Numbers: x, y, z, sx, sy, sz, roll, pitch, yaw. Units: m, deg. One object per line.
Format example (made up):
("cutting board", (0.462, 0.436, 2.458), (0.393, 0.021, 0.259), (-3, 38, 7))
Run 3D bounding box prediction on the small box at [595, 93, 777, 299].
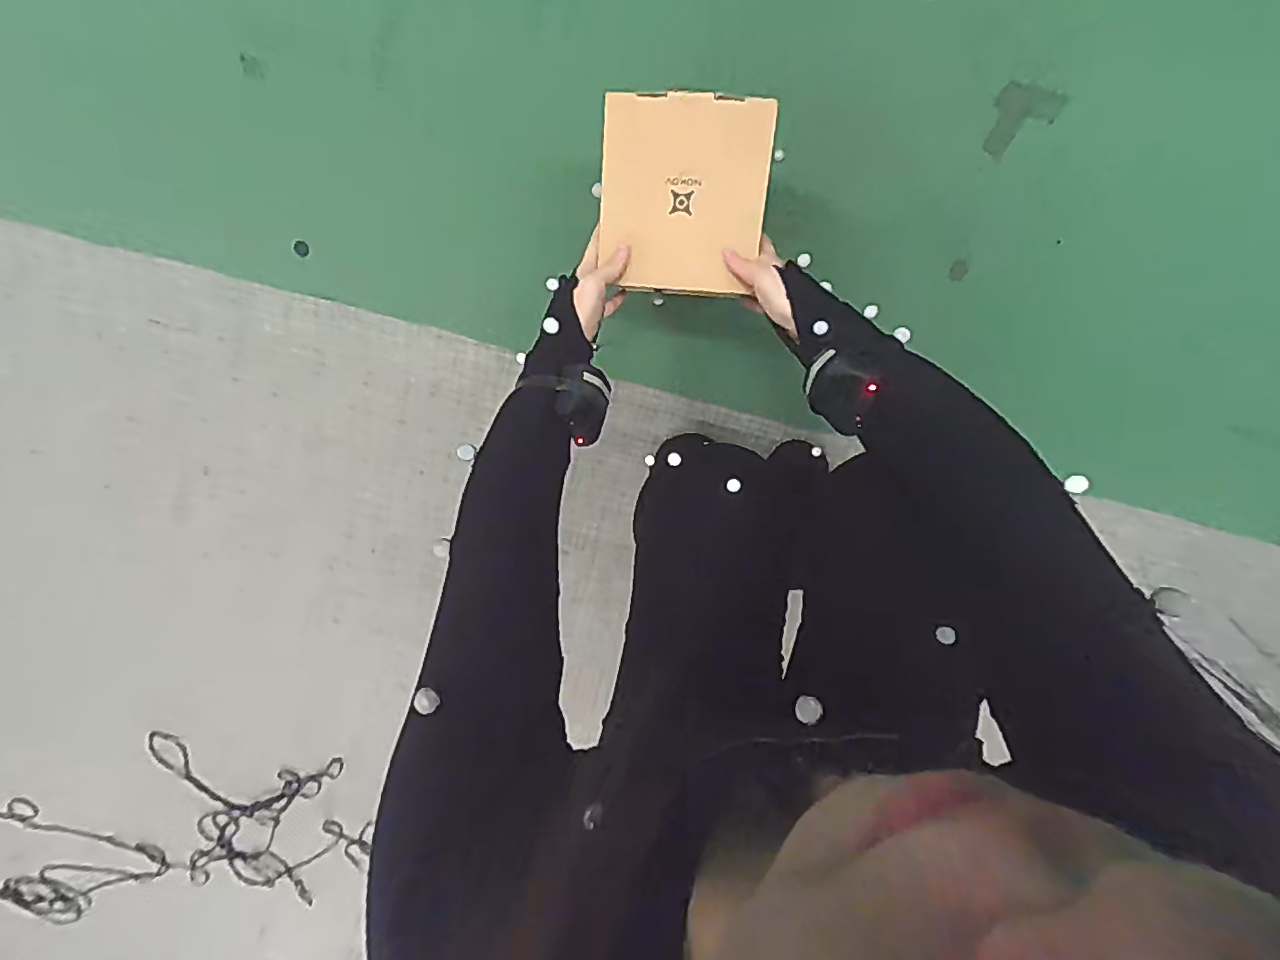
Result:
("small box", (0.050, -0.303, 0.612), (0.168, 0.176, 0.179), (6, 108, 4))
